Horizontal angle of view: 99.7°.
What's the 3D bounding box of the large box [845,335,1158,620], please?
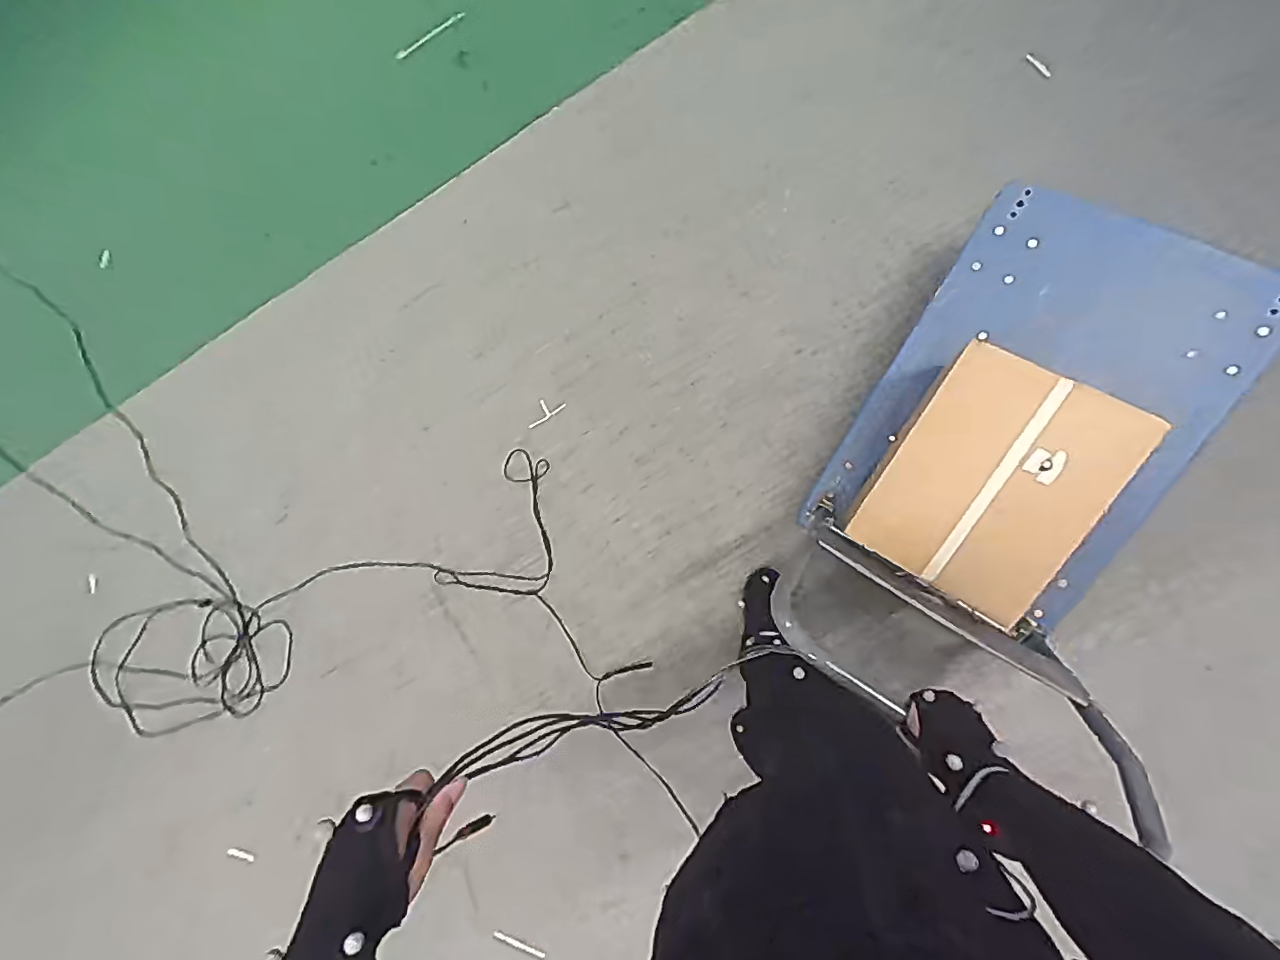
[{"bbox_3d":[0.650,-0.008,1.063,0.320,0.320,0.408,33,103,17],"label":"large box"}]
